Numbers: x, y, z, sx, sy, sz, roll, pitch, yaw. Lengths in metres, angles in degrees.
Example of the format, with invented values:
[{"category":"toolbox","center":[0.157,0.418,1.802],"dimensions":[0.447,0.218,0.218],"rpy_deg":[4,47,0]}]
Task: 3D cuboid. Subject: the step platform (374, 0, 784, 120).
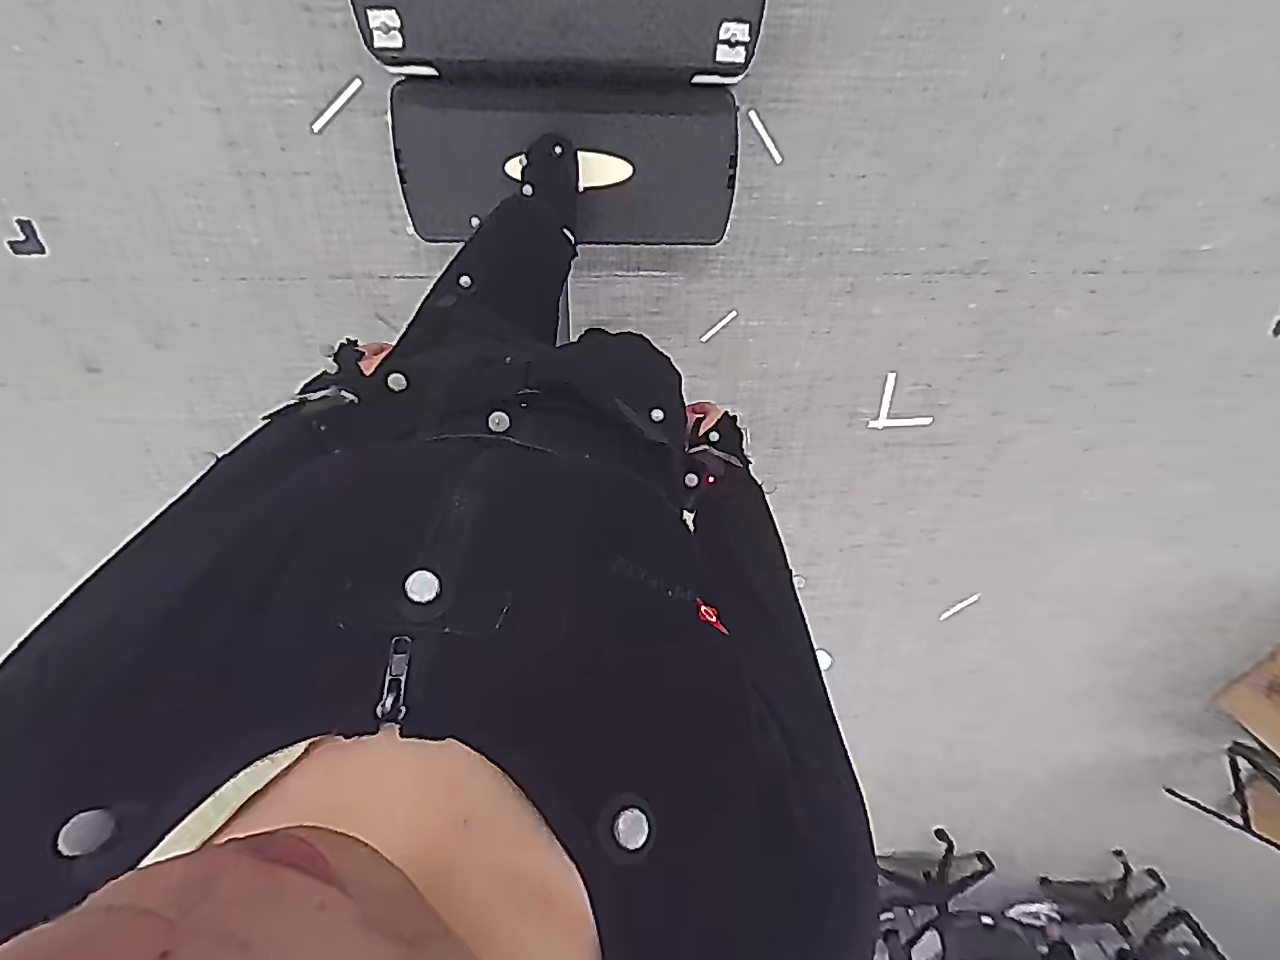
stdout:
[{"category":"step platform","center":[-0.098,-0.830,0.934],"dimensions":[0.684,0.204,0.286],"rpy_deg":[3,119,-6]}]
